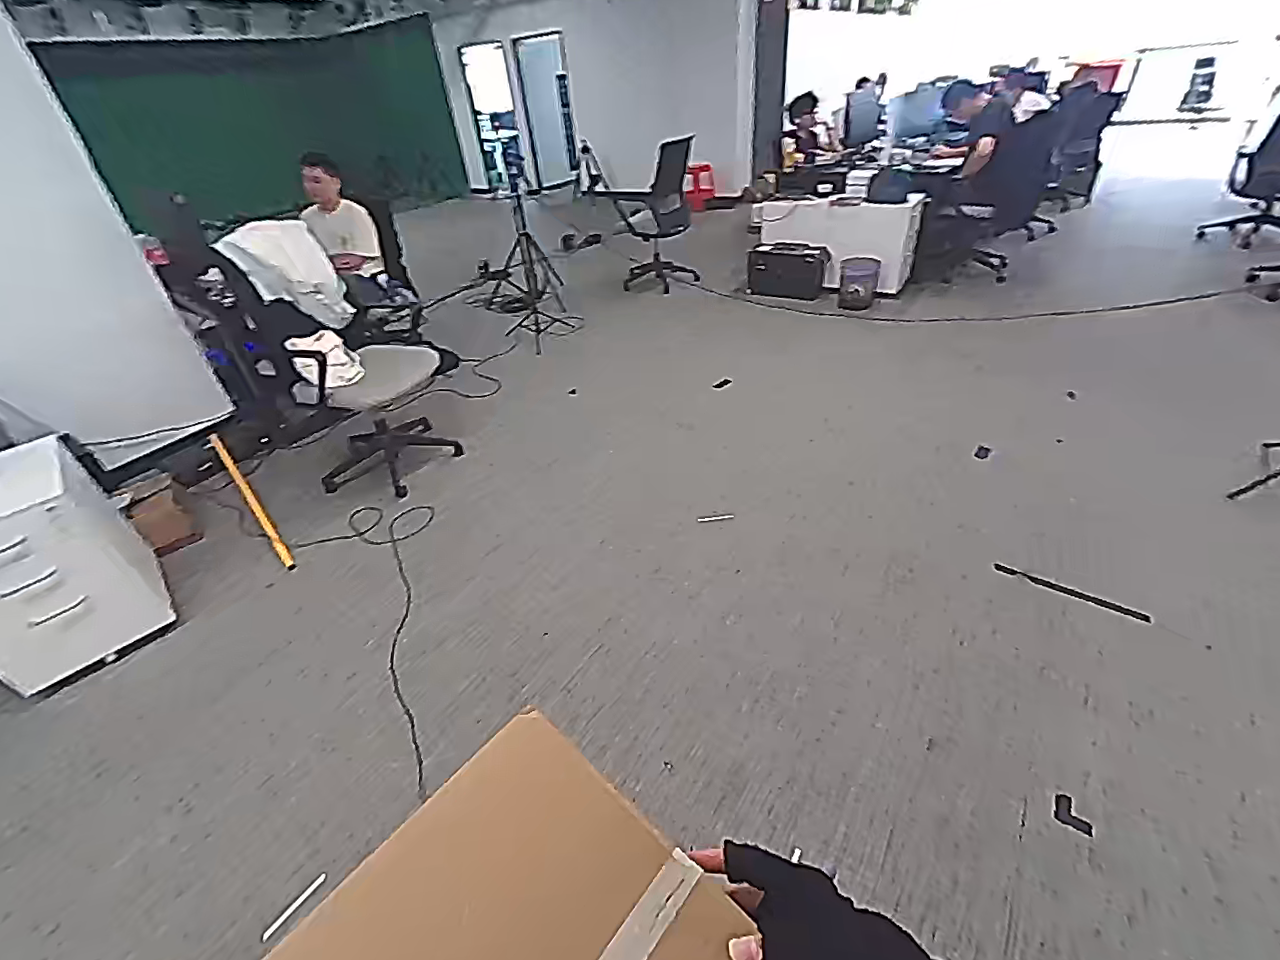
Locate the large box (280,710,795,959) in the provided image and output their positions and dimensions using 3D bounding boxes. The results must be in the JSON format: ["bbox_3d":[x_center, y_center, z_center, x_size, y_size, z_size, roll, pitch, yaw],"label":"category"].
[{"bbox_3d":[-0.101,0.462,0.356,0.320,0.320,0.408,33,52,26],"label":"large box"}]
